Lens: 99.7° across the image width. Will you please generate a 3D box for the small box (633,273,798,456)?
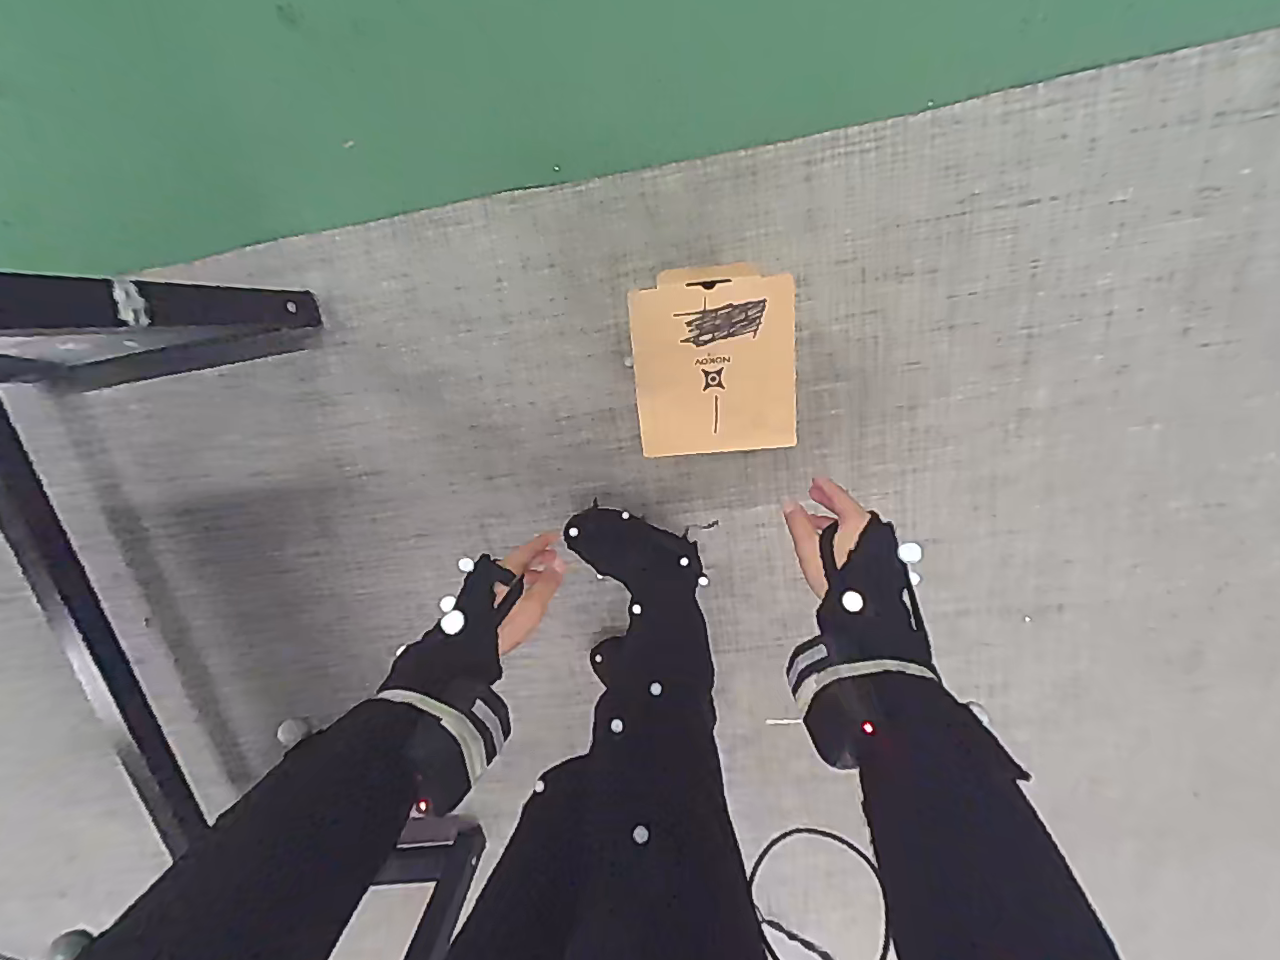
[{"bbox_3d":[0.085,-0.135,0.632,0.168,0.176,0.179,-4,107,6],"label":"small box"}]
